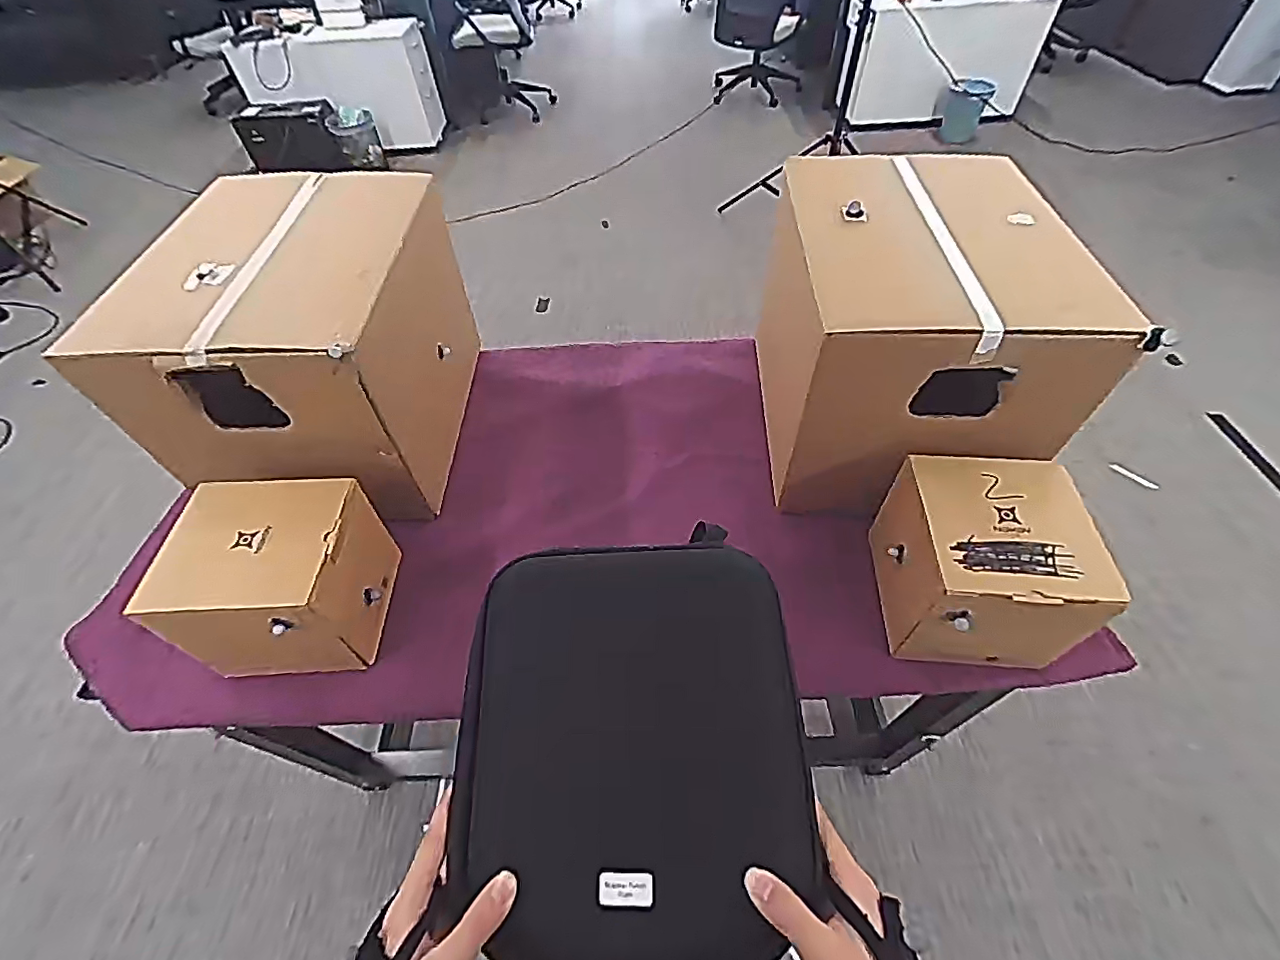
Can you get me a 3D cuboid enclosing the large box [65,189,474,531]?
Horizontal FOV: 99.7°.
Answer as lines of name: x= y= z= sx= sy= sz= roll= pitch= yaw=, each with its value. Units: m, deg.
large box: x=-0.454 y=-0.175 z=0.797 sx=0.320 sy=0.320 sz=0.408 roll=-2 pitch=54 yaw=0
